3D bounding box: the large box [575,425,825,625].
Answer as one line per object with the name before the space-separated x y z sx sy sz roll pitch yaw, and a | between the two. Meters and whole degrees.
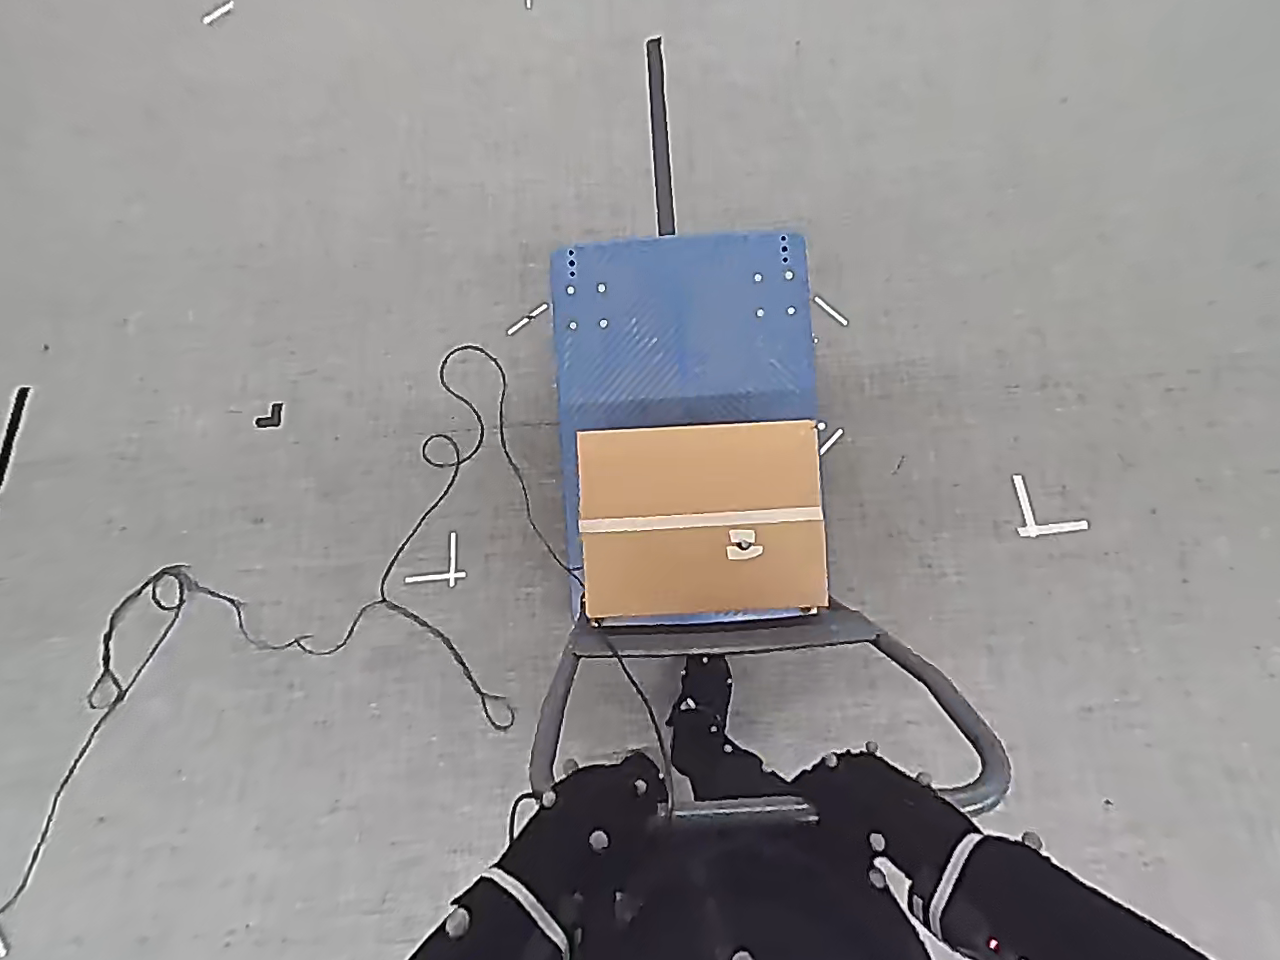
large box | 0.097 0.078 1.044 0.408 0.320 0.320 -3 89 0
